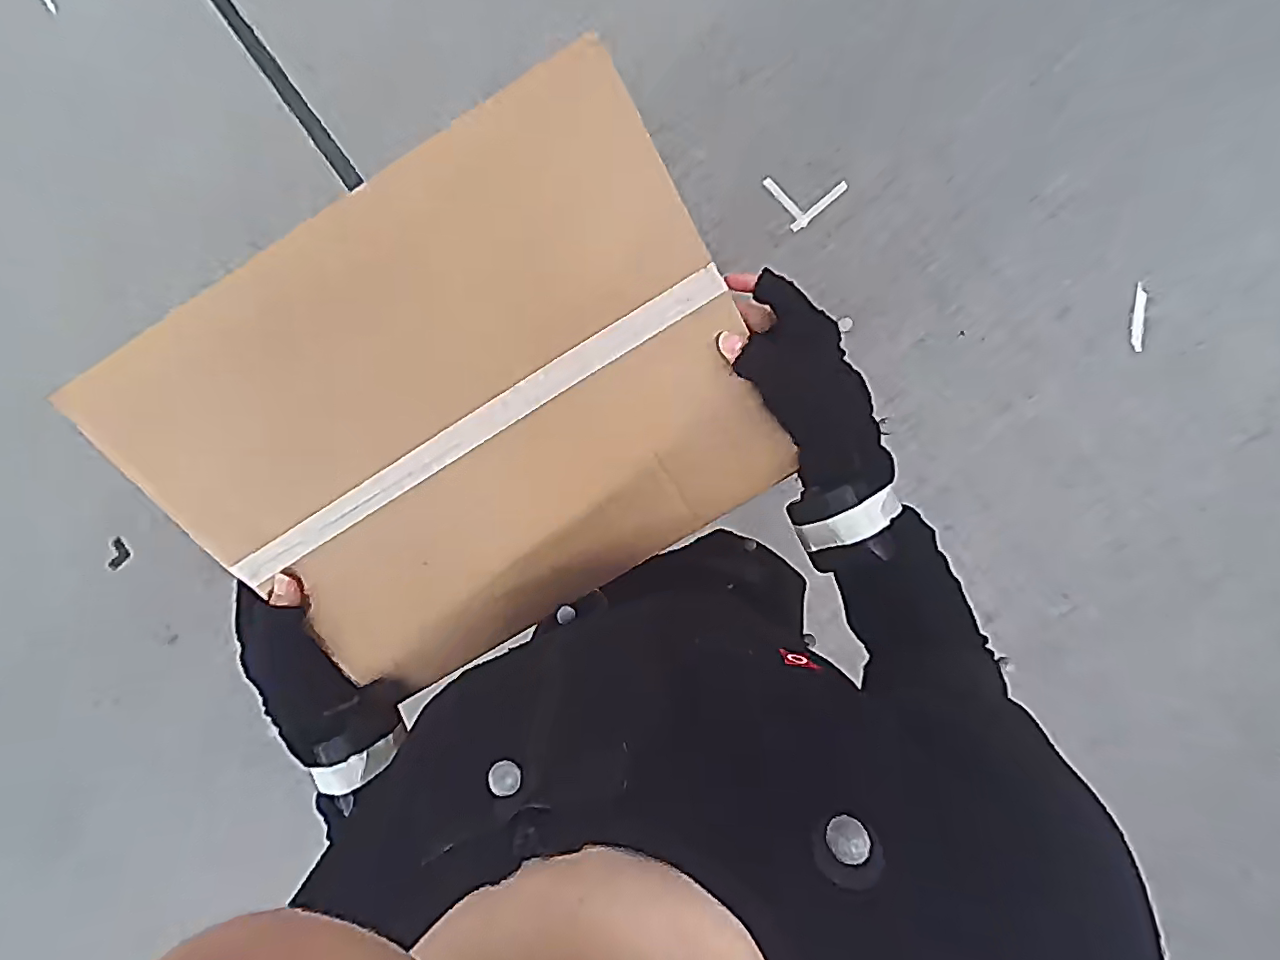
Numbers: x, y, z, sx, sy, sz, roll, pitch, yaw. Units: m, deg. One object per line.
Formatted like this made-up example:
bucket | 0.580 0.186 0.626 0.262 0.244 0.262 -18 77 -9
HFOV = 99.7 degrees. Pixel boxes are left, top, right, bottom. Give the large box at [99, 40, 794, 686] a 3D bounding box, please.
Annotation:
large box | -0.137 -0.093 0.532 0.408 0.320 0.320 -31 112 5
